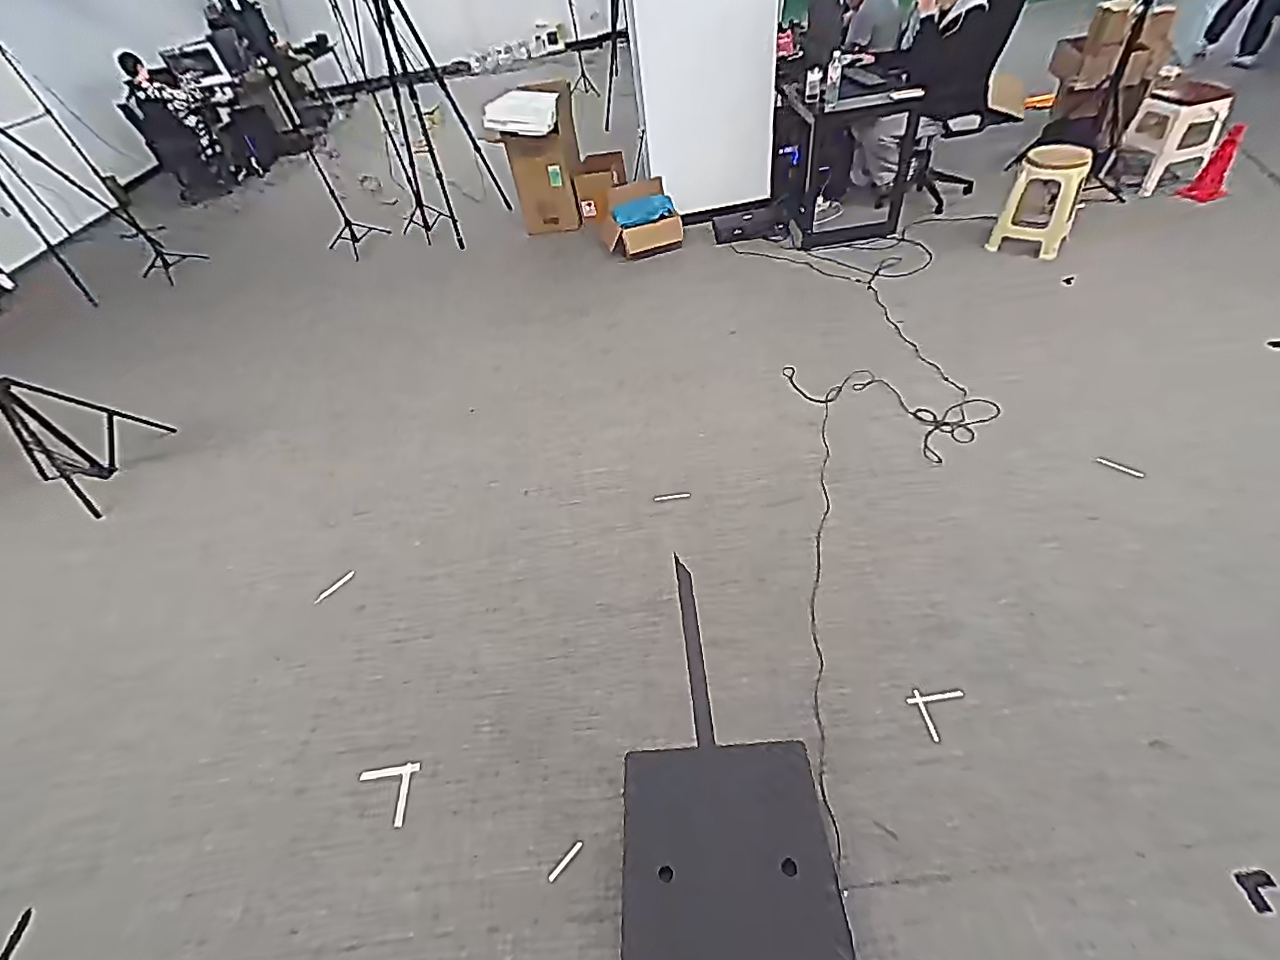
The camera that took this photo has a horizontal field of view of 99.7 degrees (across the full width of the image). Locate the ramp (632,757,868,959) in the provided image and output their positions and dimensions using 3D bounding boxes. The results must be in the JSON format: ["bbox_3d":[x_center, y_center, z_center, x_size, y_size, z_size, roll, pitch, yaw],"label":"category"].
[{"bbox_3d":[0.226,1.061,1.062,0.509,0.206,0.991,-10,44,4],"label":"ramp"}]
